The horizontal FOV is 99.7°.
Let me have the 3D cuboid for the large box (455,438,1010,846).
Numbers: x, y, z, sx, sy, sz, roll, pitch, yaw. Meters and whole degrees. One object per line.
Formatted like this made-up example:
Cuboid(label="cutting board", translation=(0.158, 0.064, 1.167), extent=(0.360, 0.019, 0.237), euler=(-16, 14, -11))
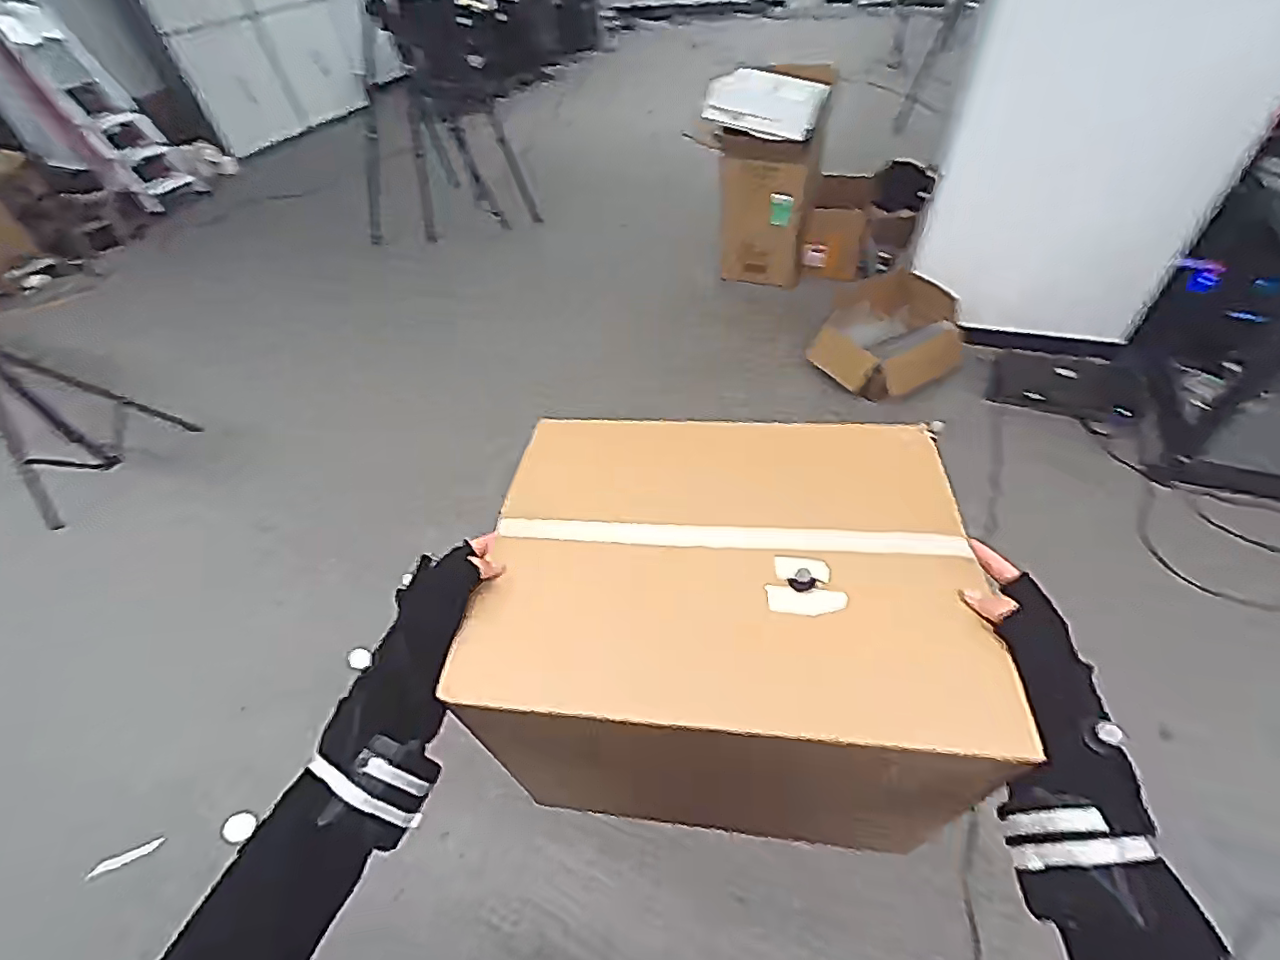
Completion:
Cuboid(label="large box", translation=(0.081, 0.168, 0.592), extent=(0.408, 0.320, 0.320), euler=(2, 47, 9))
